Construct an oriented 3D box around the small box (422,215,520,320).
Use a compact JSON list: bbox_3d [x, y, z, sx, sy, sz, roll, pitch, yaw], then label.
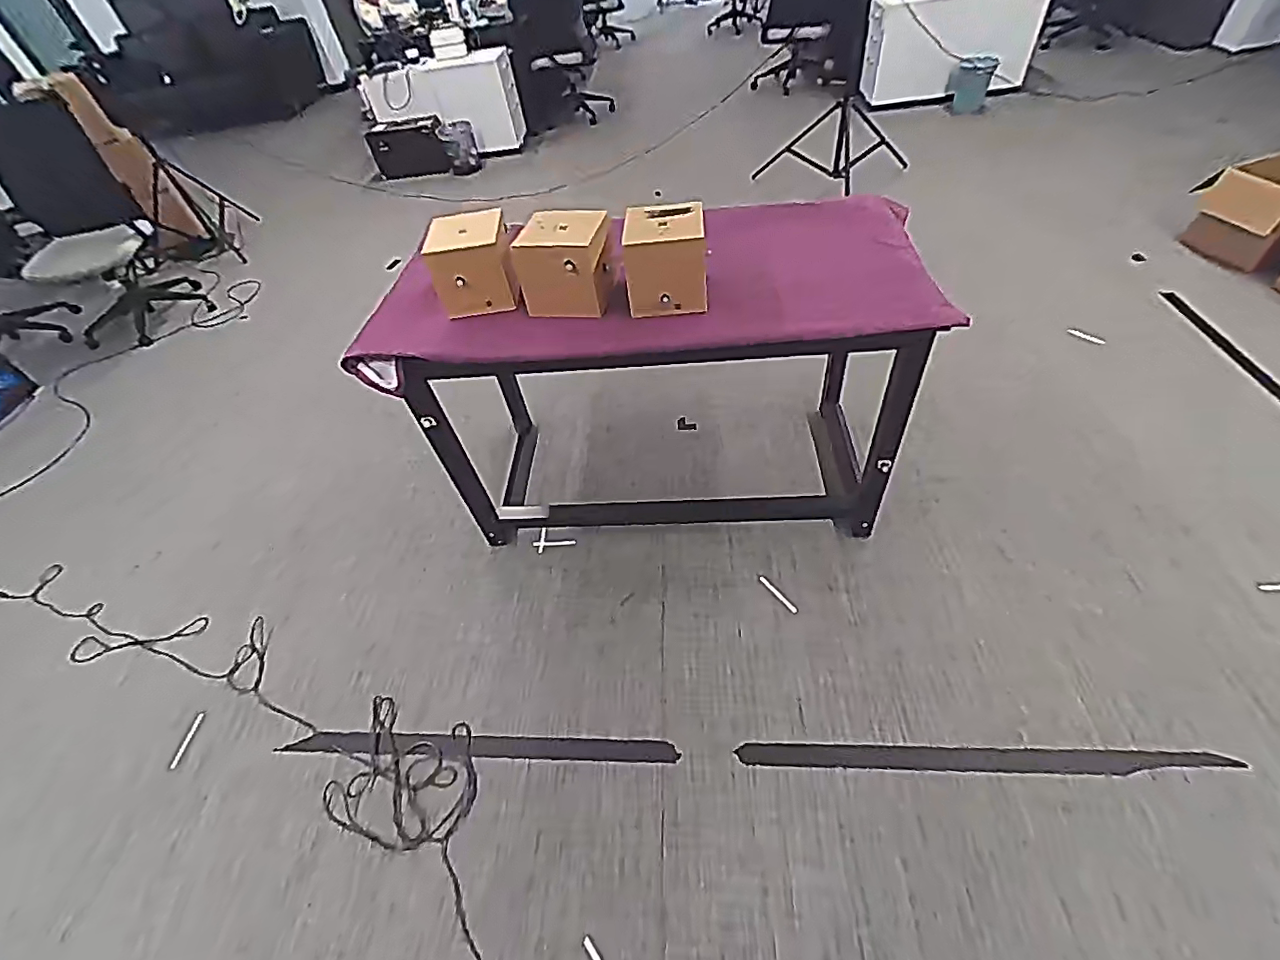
[{"bbox_3d":[-0.390,-0.495,1.279,0.168,0.176,0.179,-9,49,2],"label":"small box"}]
